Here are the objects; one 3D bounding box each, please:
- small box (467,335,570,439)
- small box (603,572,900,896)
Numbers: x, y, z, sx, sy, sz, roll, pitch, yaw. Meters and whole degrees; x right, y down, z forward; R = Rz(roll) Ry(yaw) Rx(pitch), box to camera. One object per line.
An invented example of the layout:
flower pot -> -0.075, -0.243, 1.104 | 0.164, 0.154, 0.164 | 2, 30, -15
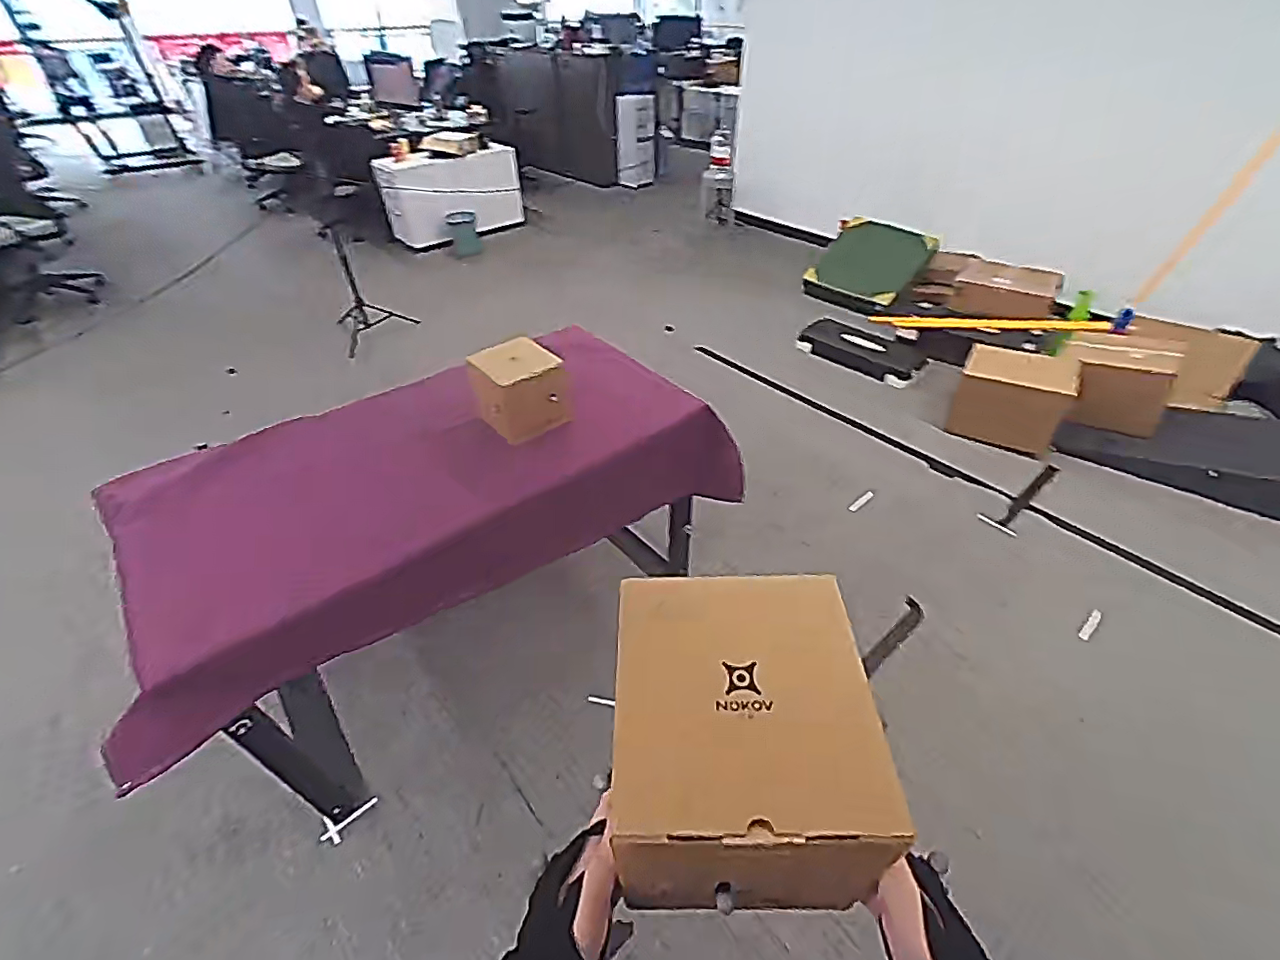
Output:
small box -> -0.285, -0.219, 1.300 | 0.168, 0.176, 0.179 | -30, 49, -29
small box -> 0.062, 0.190, 0.409 | 0.168, 0.176, 0.179 | -2, 44, 1
